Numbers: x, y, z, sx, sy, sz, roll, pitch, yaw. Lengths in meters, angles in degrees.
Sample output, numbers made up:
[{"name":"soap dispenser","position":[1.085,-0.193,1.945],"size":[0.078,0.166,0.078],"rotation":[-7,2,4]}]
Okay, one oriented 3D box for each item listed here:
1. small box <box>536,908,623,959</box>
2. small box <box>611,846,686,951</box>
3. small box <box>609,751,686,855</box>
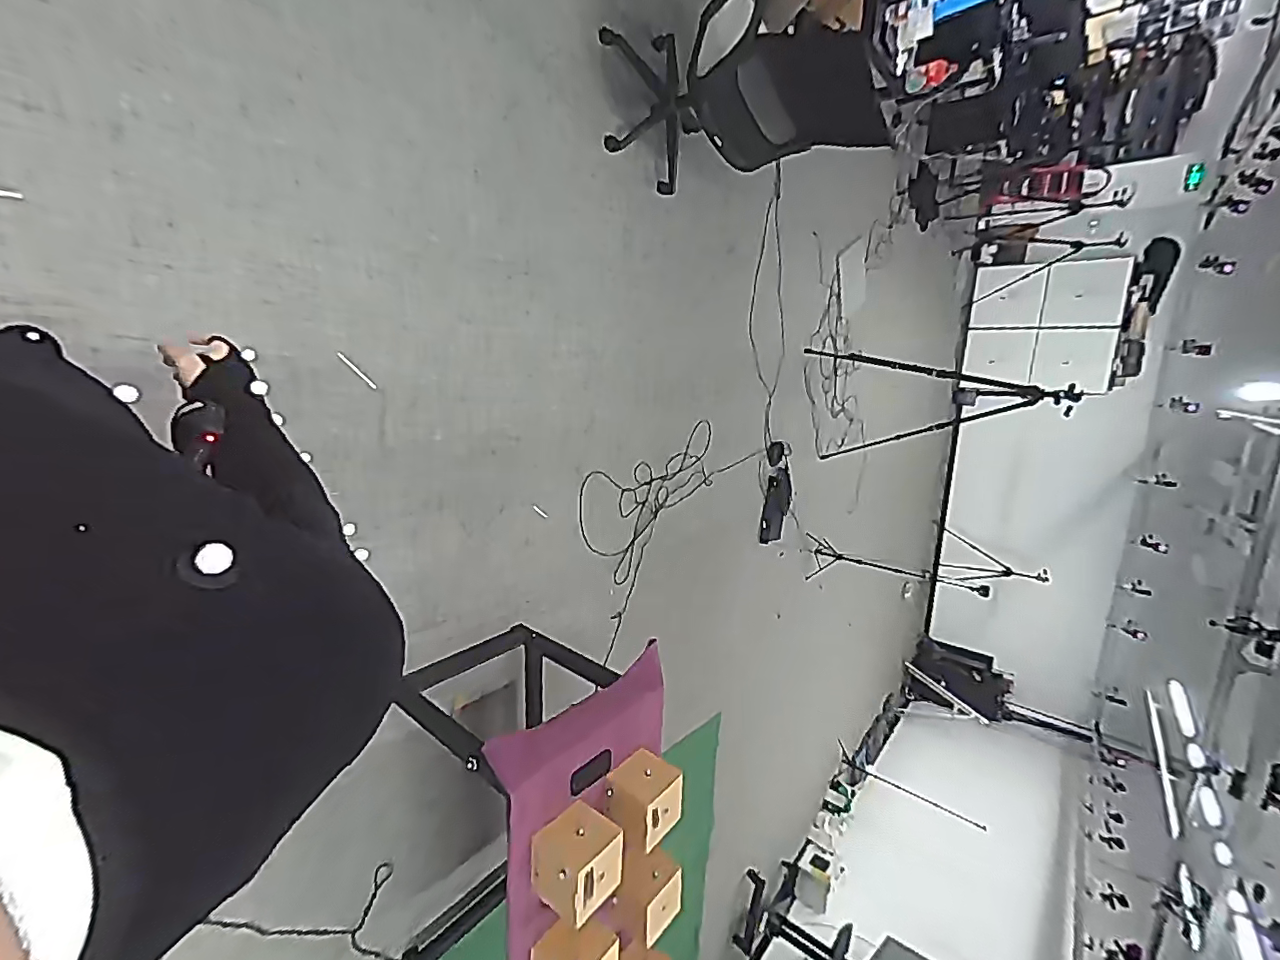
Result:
[{"name":"small box","position":[-0.167,1.345,1.485],"size":[0.179,0.176,0.168],"rotation":[-10,106,-51]},{"name":"small box","position":[0.027,1.314,1.721],"size":[0.179,0.176,0.168],"rotation":[-12,107,-49]},{"name":"small box","position":[0.021,0.961,1.626],"size":[0.179,0.176,0.168],"rotation":[-13,109,-50]}]
